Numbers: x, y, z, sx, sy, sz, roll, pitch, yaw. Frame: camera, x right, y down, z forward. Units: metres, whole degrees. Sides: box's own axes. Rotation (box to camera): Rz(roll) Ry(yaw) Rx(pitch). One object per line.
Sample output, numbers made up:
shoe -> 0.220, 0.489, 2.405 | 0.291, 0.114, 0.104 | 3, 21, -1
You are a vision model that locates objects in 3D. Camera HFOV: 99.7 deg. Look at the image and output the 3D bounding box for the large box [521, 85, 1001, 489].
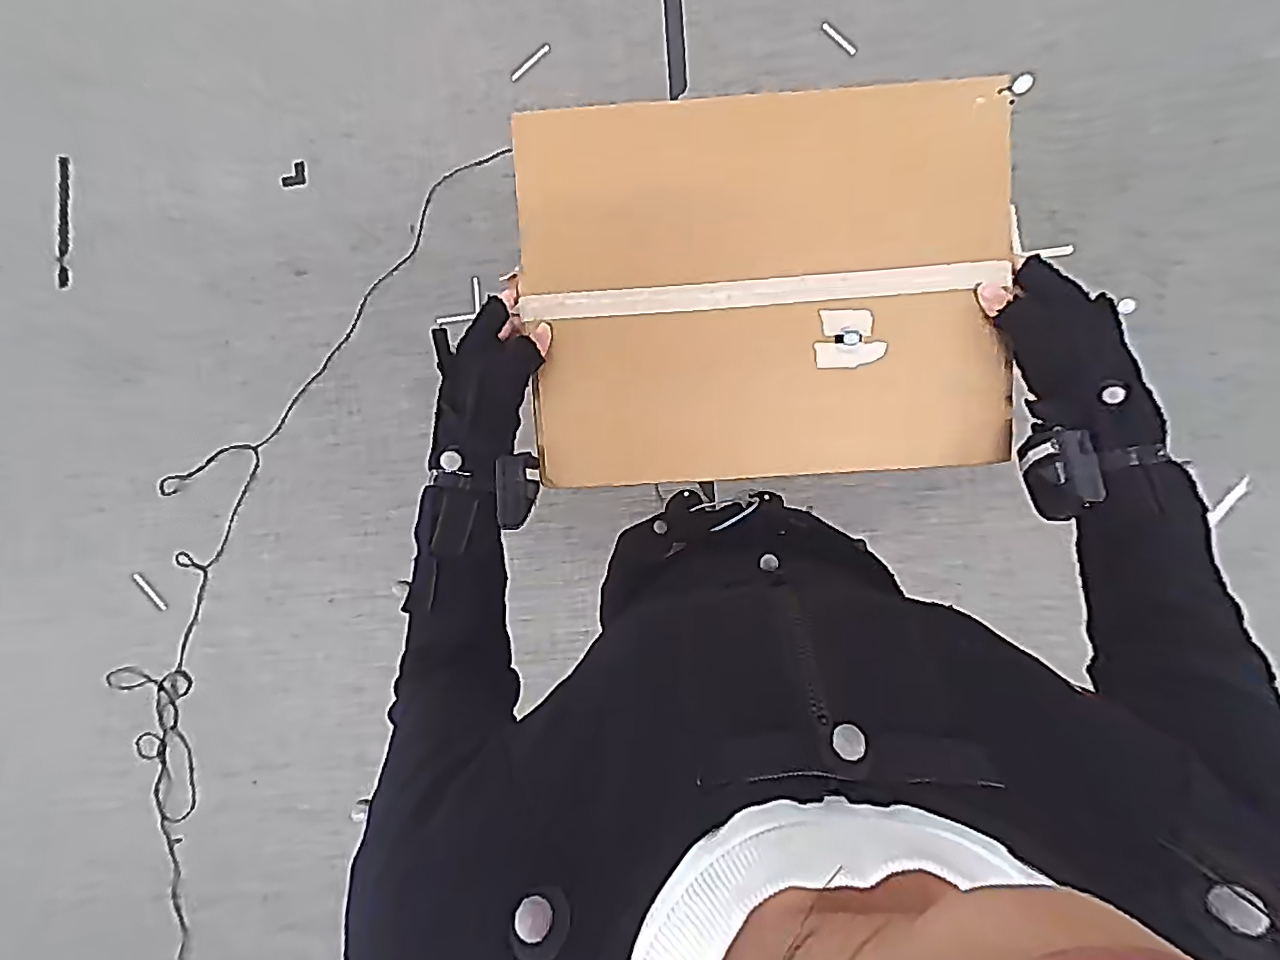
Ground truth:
large box -> 0.108, -0.173, 0.615 | 0.408, 0.320, 0.320 | -4, 96, 1
